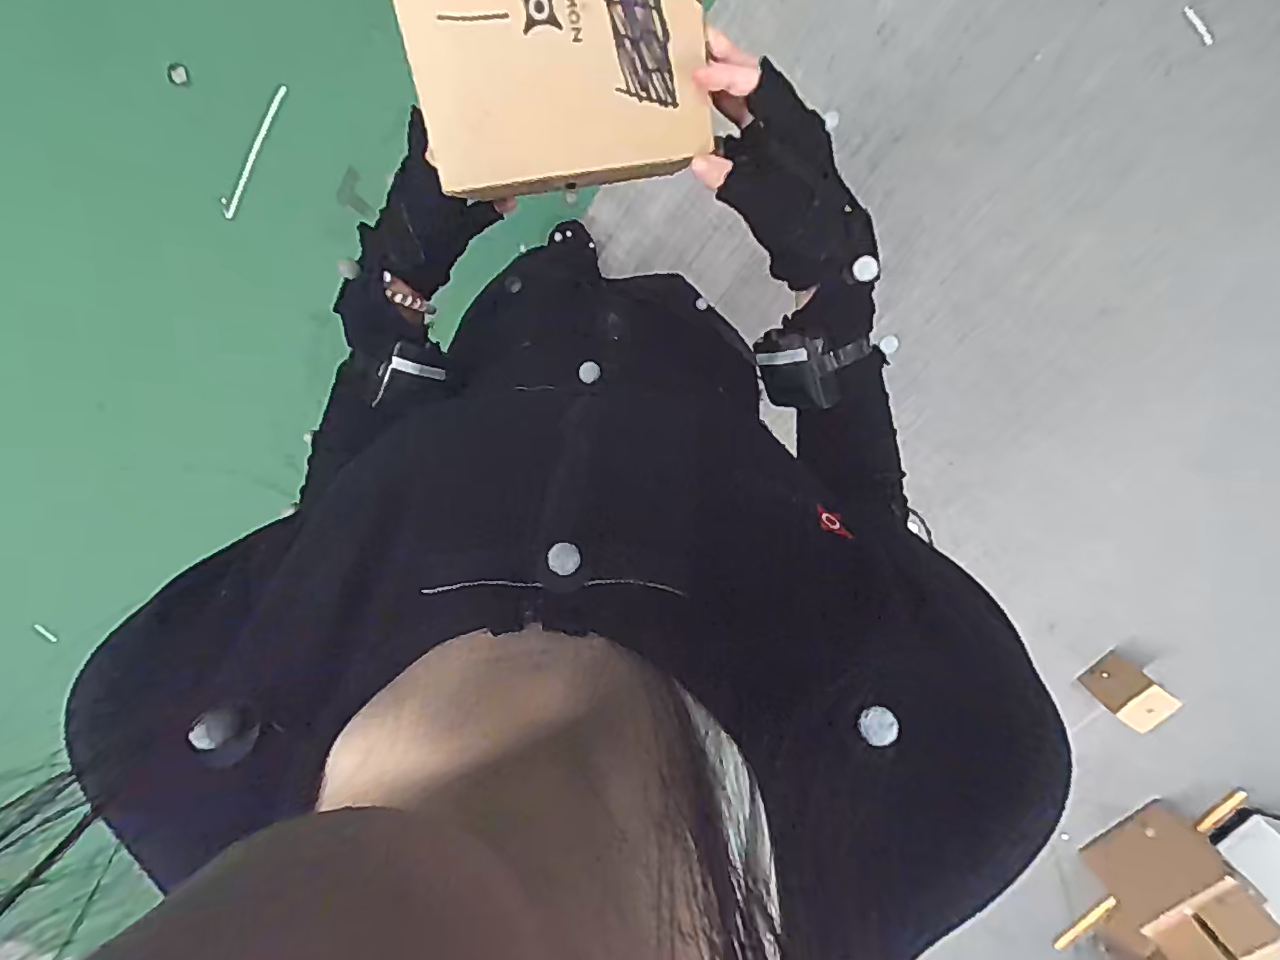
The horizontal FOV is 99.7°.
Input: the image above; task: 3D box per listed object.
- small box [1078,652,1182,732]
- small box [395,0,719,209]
[{"bbox_3d":[1.717,0.741,1.904,0.179,0.176,0.168,31,108,-16],"label":"small box"},{"bbox_3d":[-0.053,-0.288,0.371,0.179,0.176,0.168,-9,116,-2],"label":"small box"}]
